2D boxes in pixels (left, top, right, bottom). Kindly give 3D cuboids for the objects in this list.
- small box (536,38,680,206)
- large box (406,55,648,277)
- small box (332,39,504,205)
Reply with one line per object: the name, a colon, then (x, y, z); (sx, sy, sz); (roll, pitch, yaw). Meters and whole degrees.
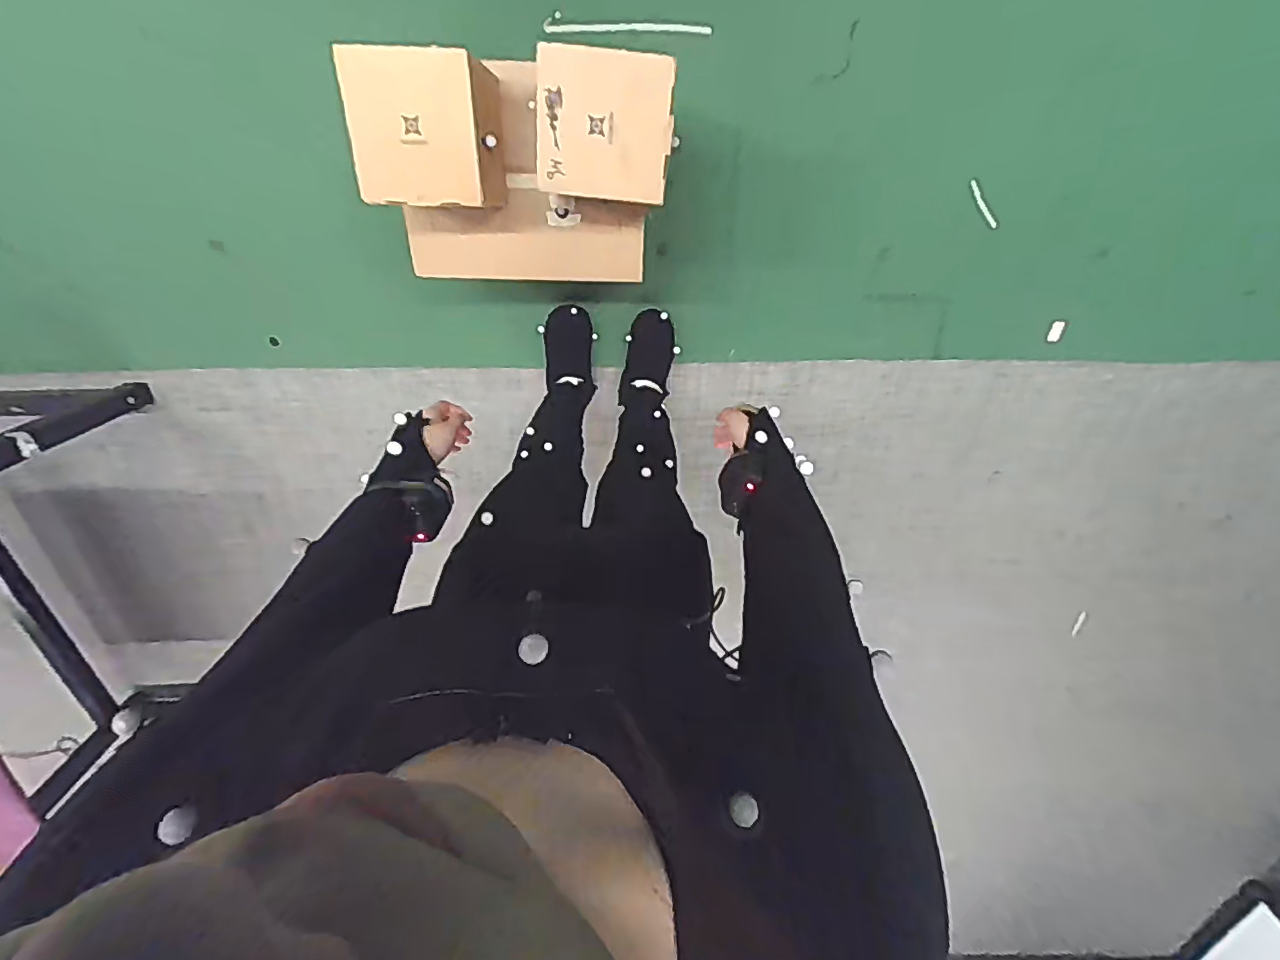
small box: (-0.046, -0.489, 0.760); (0.179, 0.176, 0.168); (5, 118, -3)
large box: (-0.190, -0.561, 1.000); (0.408, 0.320, 0.320); (0, 120, -1)
small box: (-0.295, -0.489, 0.762); (0.168, 0.176, 0.179); (1, 119, -1)
